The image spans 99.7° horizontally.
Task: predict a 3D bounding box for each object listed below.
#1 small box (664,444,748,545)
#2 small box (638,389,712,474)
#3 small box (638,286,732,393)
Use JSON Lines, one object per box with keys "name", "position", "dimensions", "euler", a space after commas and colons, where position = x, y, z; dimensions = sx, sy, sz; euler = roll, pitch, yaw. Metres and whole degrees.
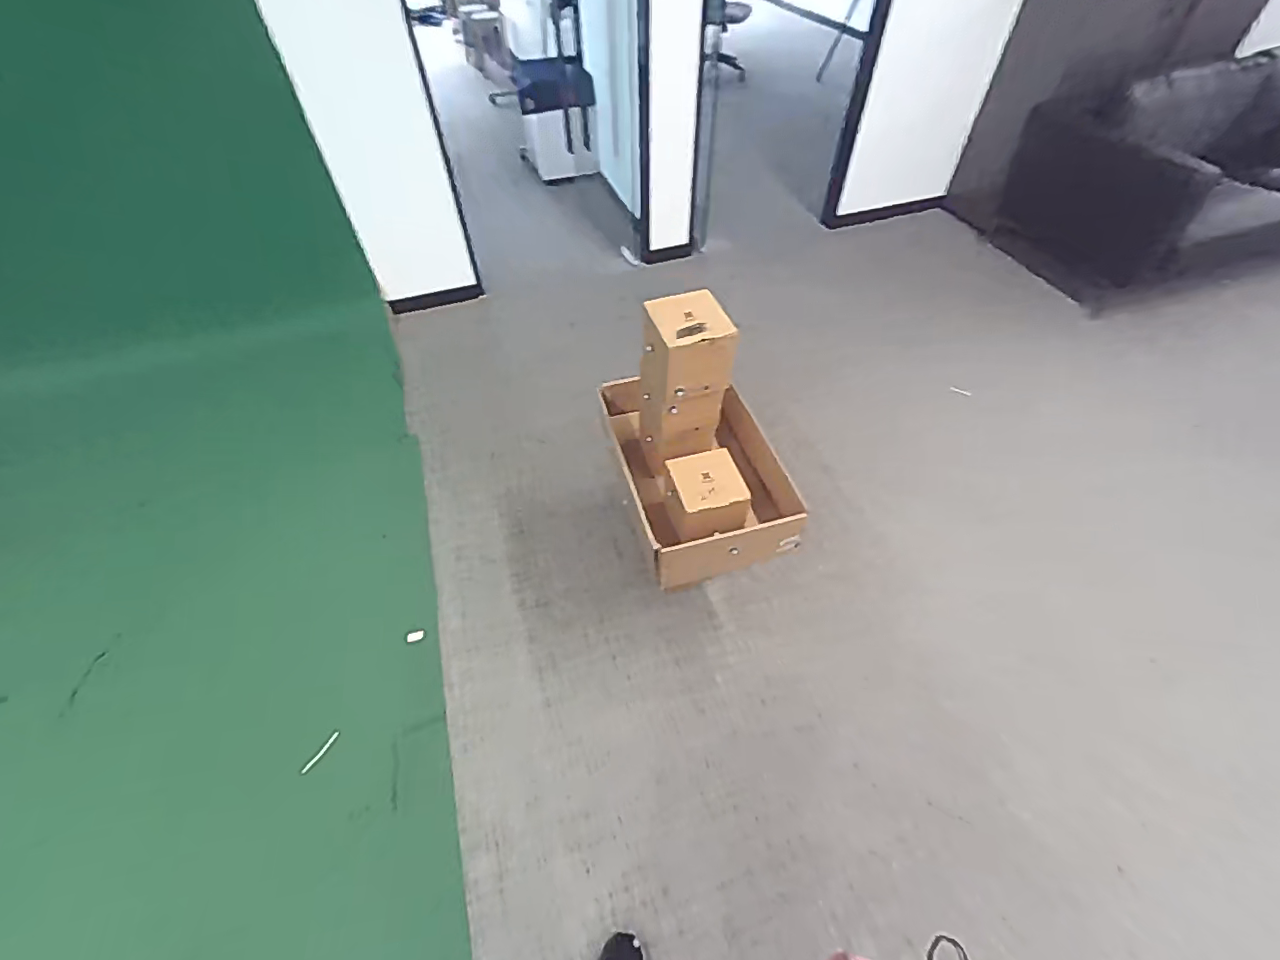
{"name": "small box", "position": [0.162, 0.039, 1.394], "dimensions": [0.168, 0.176, 0.179], "euler": [-13, 51, -9]}
{"name": "small box", "position": [0.093, -0.145, 1.553], "dimensions": [0.168, 0.176, 0.179], "euler": [-14, 55, -10]}
{"name": "small box", "position": [0.100, -0.324, 1.277], "dimensions": [0.168, 0.176, 0.179], "euler": [-16, 54, -11]}
